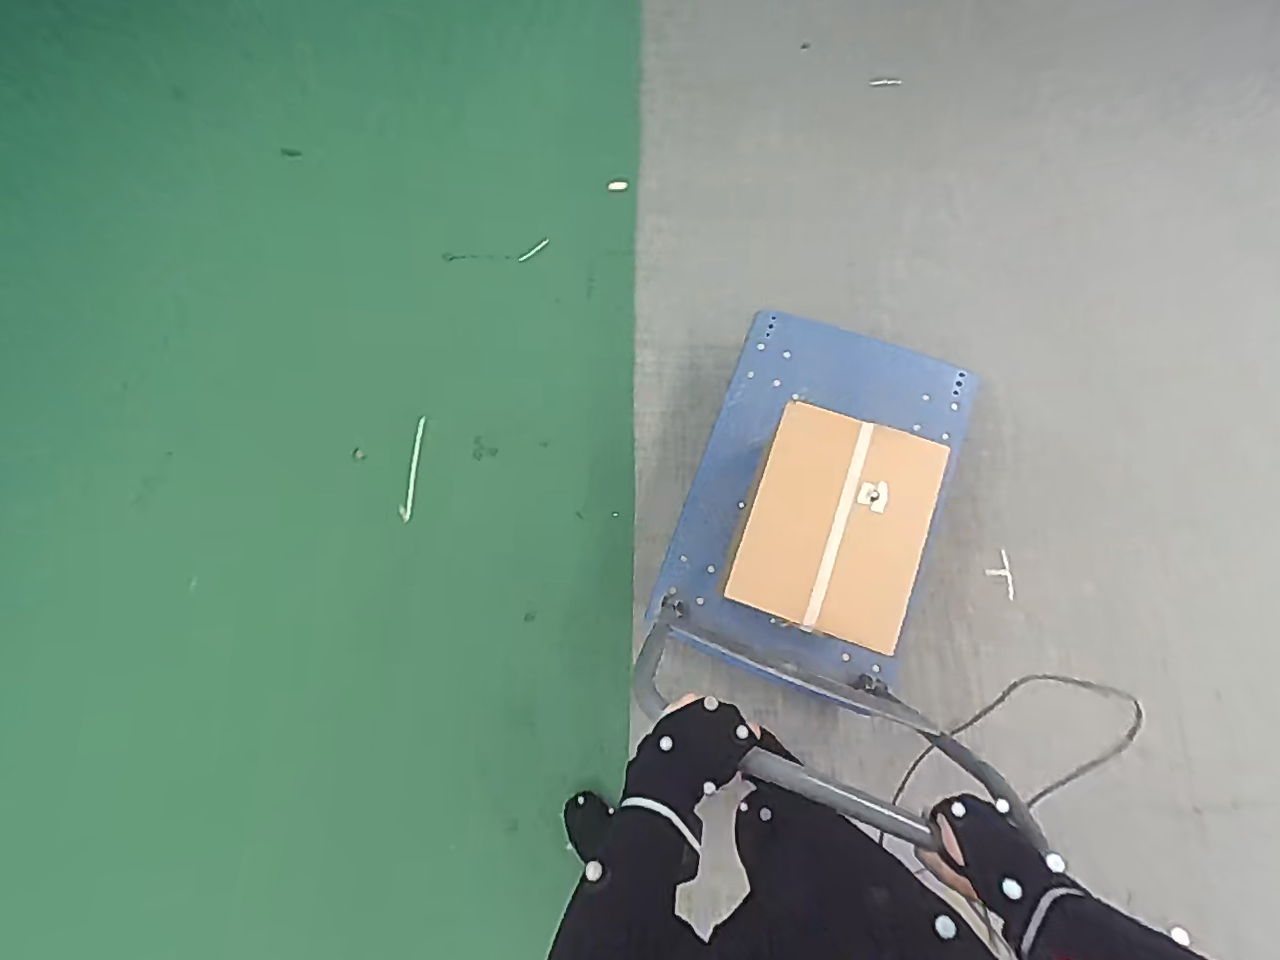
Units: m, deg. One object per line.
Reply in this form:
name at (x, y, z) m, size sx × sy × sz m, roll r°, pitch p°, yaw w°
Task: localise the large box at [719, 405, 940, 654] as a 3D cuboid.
large box at (0.374, 0.111, 1.153) m, size 0.320 × 0.320 × 0.408 m, roll 19°, pitch 81°, yaw 8°
